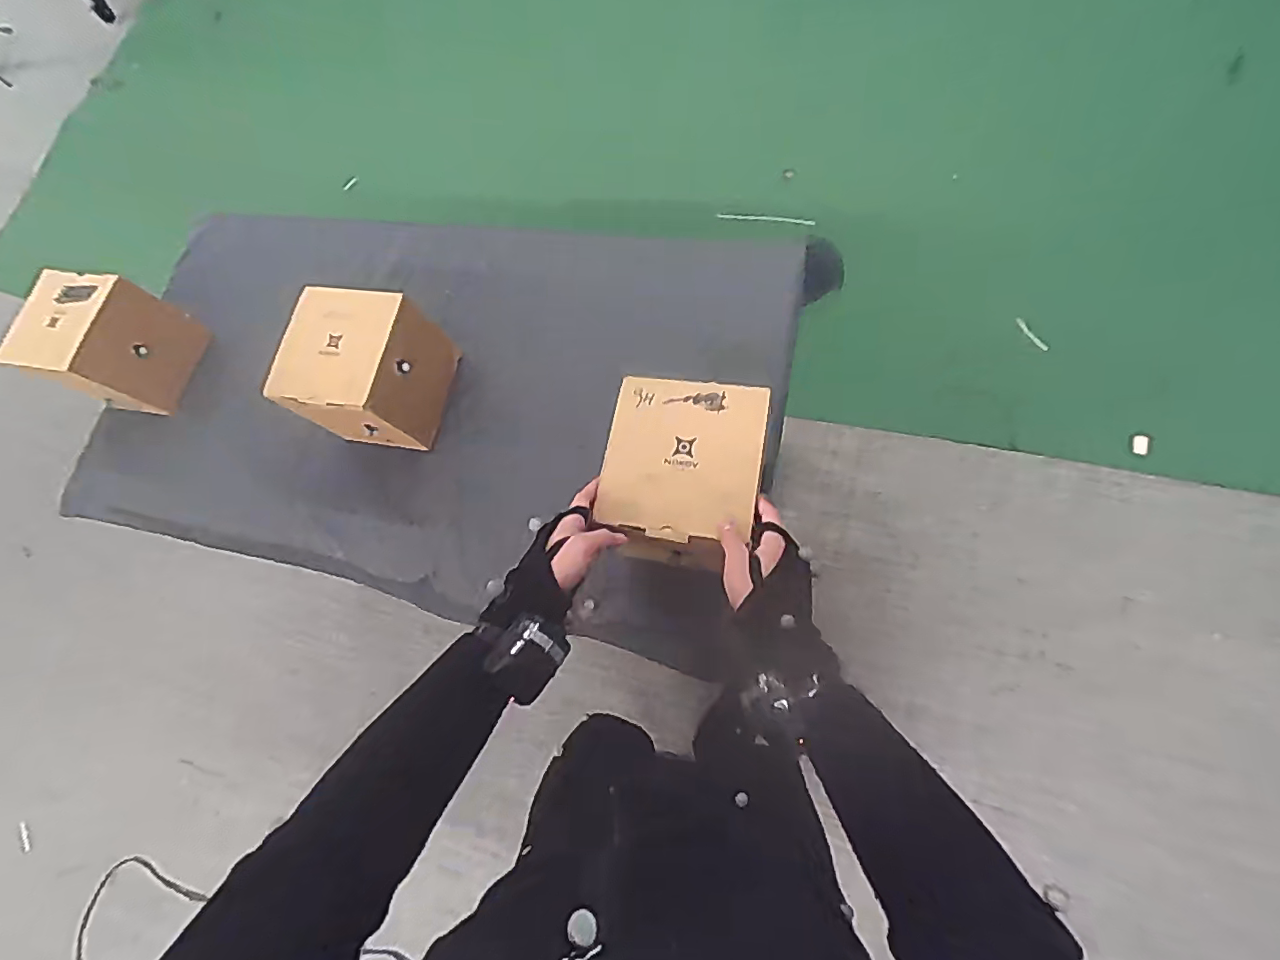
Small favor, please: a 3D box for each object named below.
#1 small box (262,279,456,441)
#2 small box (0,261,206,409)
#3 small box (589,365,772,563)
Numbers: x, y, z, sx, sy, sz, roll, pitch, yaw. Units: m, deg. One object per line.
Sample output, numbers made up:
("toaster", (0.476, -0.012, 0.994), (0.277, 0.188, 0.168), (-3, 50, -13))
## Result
("small box", (-0.402, -0.171, 0.806), (0.168, 0.176, 0.179), (8, 74, 12))
("small box", (-0.901, -0.243, 0.924), (0.168, 0.176, 0.179), (9, 75, 14))
("small box", (0.057, -0.009, 0.630), (0.168, 0.176, 0.179), (8, 73, 13))
